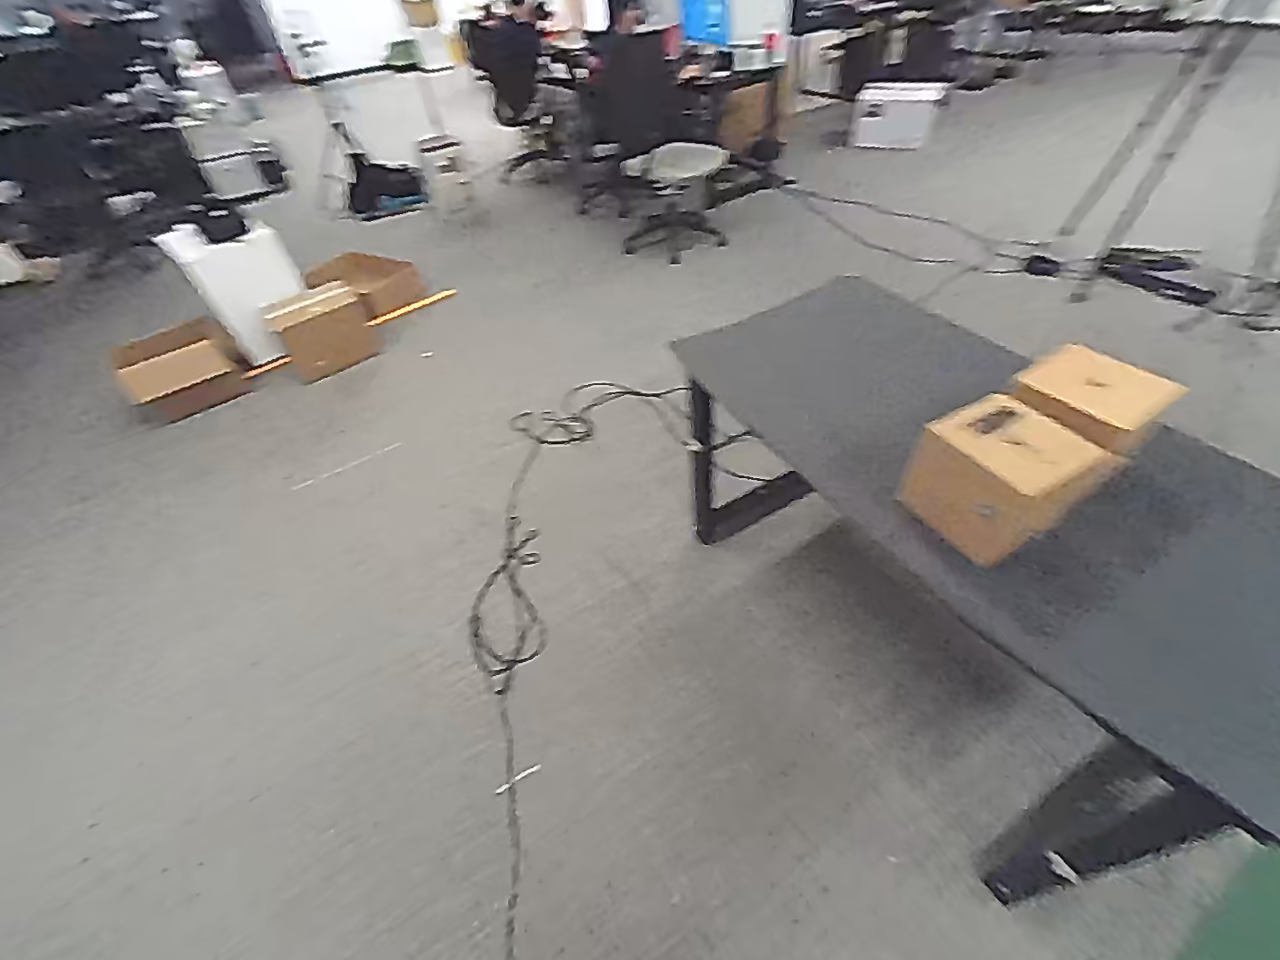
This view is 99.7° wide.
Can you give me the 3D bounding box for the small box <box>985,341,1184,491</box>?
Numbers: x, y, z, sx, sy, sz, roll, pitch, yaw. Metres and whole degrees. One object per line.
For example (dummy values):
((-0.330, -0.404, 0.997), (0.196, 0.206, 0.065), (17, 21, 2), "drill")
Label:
((0.747, -0.104, 0.929), (0.168, 0.176, 0.179), (-28, 49, -18), "small box")
